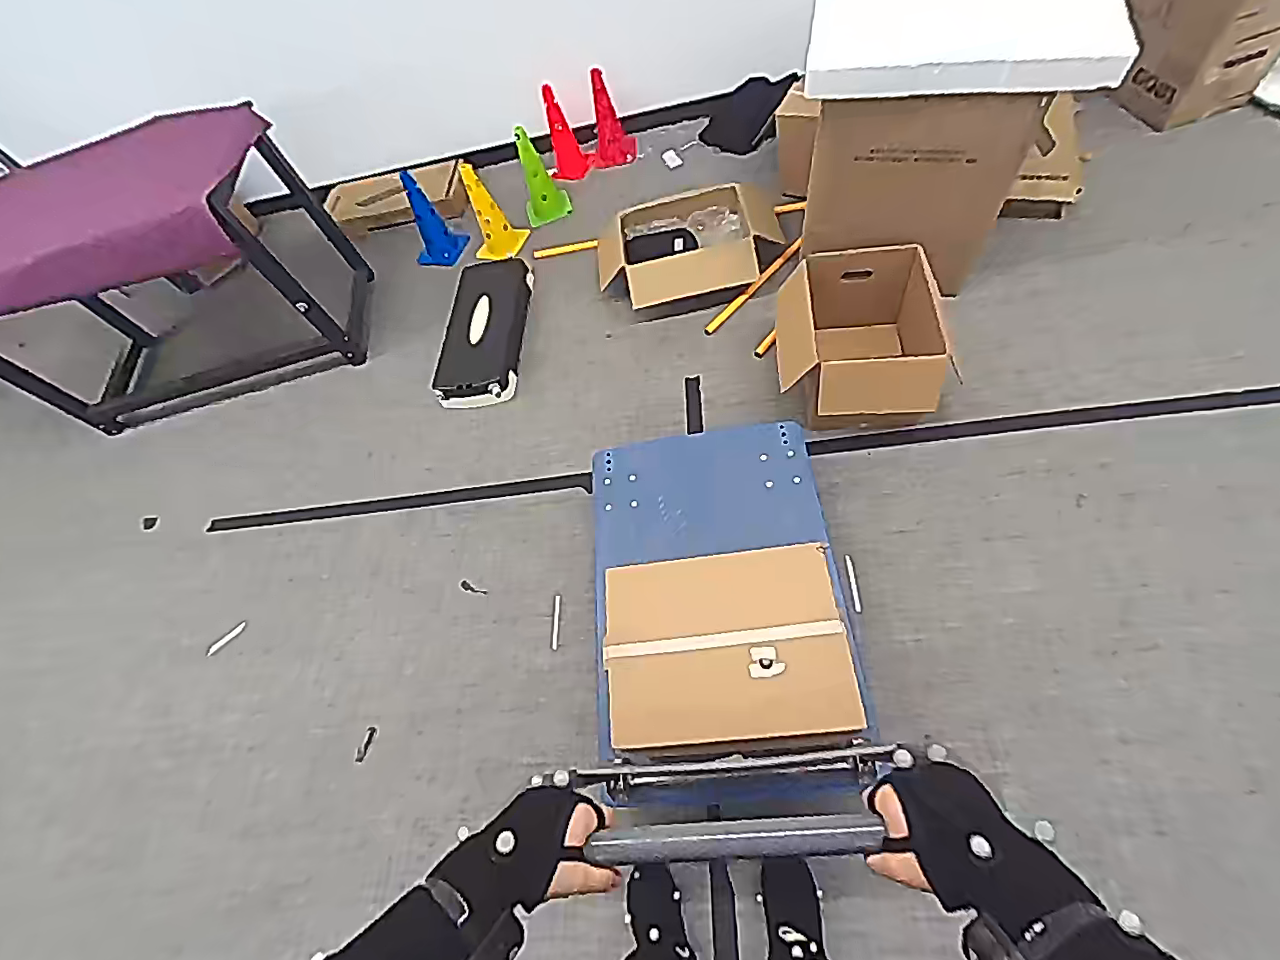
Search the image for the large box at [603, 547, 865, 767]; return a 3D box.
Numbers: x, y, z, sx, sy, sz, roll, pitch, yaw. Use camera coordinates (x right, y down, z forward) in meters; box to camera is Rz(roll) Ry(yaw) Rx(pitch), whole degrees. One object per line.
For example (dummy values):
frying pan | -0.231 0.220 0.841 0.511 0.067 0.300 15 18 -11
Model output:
large box | 0.161 0.355 1.042 0.408 0.320 0.320 -9 60 6
